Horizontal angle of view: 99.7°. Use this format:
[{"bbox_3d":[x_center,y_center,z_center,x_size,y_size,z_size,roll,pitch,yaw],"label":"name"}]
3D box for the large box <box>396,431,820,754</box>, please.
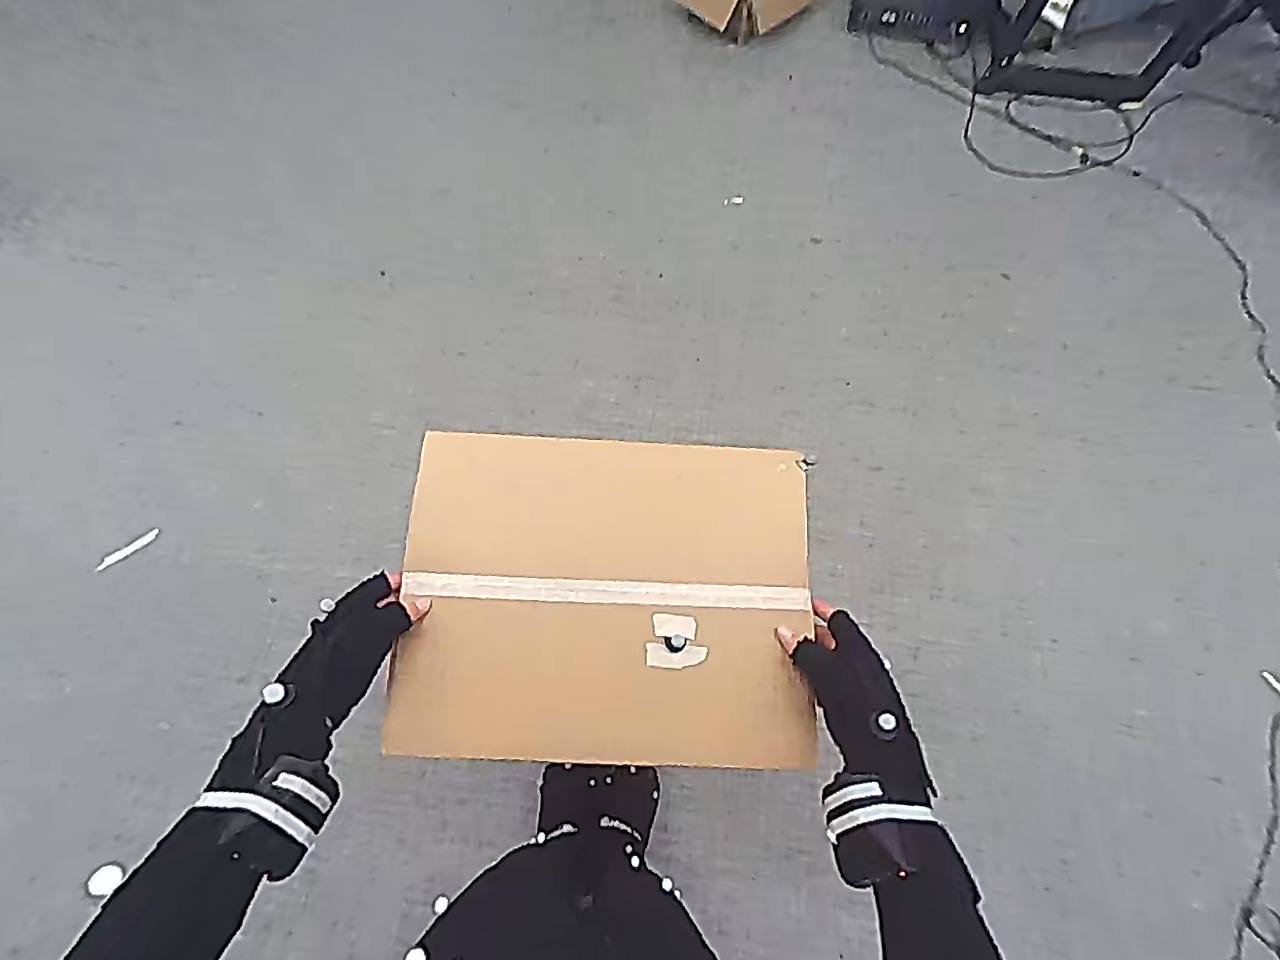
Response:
[{"bbox_3d":[-0.033,0.142,0.682,0.408,0.320,0.320,3,76,-3],"label":"large box"}]
